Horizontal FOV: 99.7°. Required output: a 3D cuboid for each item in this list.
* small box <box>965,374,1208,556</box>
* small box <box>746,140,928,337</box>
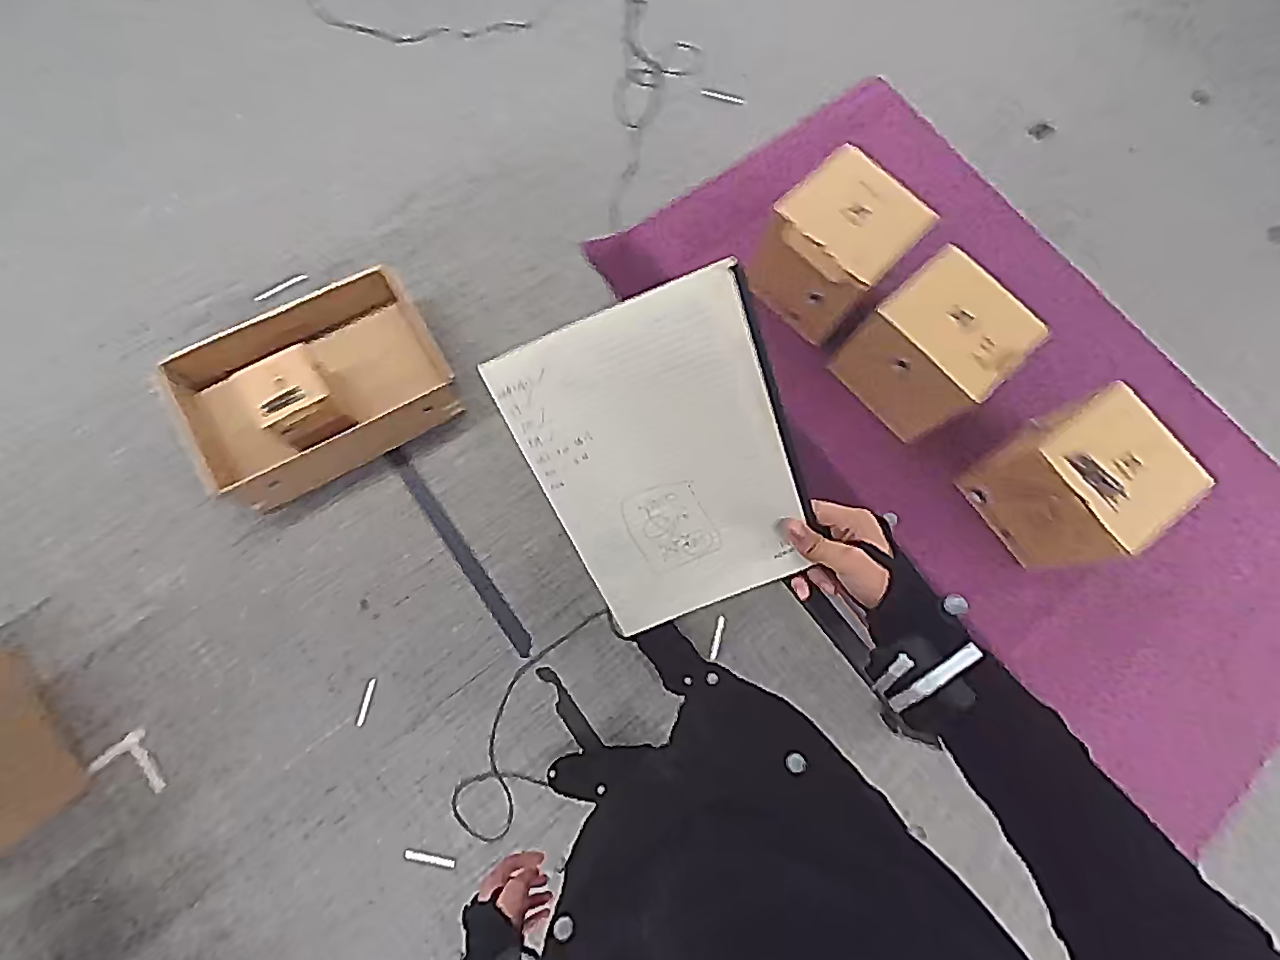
[{"bbox_3d":[0.600,-0.010,0.758,0.179,0.176,0.168,-34,81,-13],"label":"small box"},{"bbox_3d":[0.282,-0.354,0.823,0.168,0.176,0.179,44,76,6],"label":"small box"}]
